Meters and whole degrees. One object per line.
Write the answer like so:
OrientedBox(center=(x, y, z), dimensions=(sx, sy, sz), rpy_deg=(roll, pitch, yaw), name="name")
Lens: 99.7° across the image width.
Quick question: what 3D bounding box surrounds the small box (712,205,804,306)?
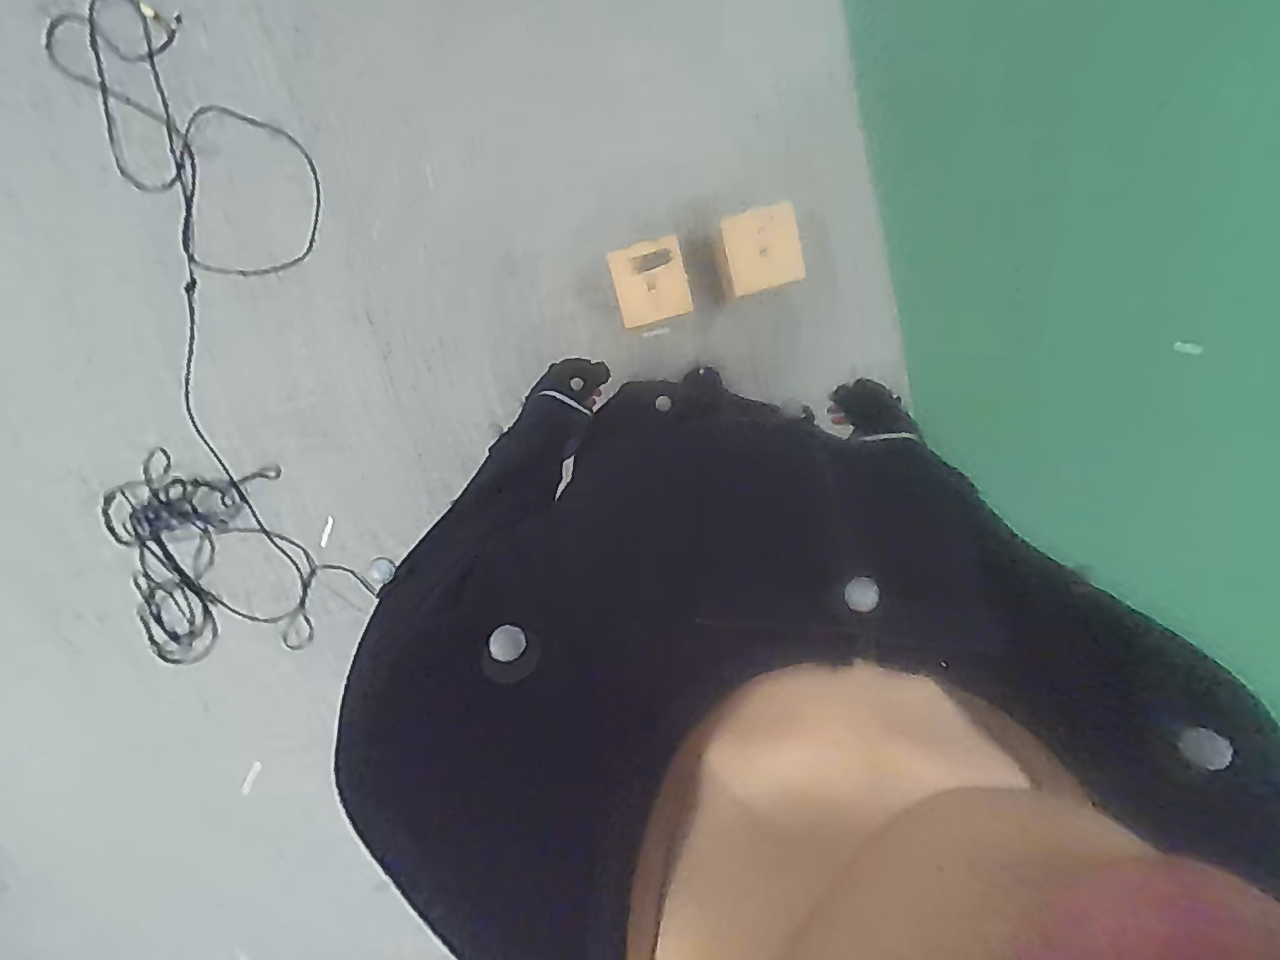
OrientedBox(center=(0.277, -0.523, 1.291), dimensions=(0.168, 0.176, 0.179), rpy_deg=(-14, 100, 4), name="small box")
